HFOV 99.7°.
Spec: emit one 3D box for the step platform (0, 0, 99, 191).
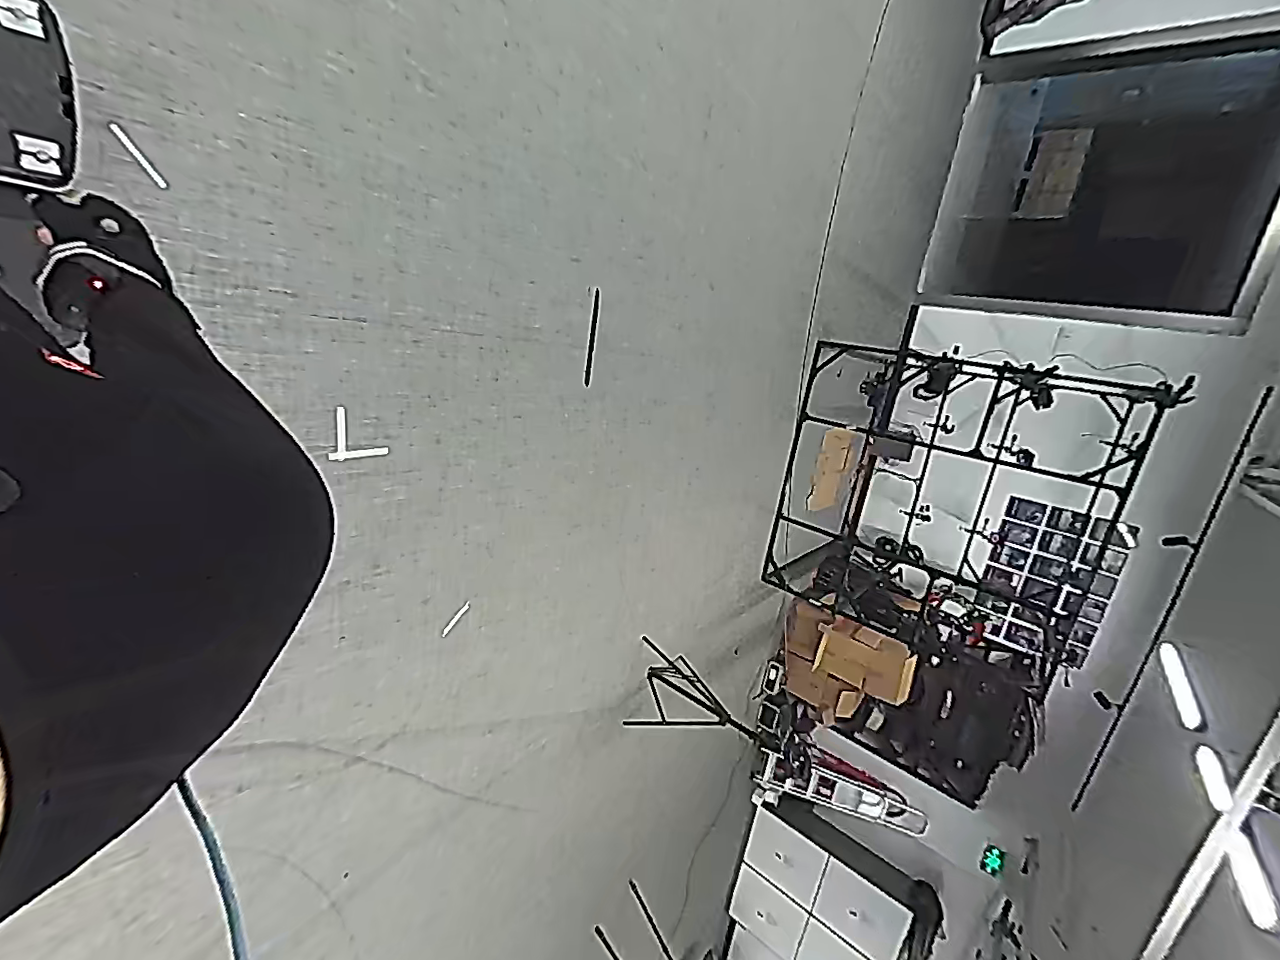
[{"bbox_3d":[-1.192,-0.622,0.707,0.684,0.204,0.286,-13,116,-52],"label":"step platform"}]
